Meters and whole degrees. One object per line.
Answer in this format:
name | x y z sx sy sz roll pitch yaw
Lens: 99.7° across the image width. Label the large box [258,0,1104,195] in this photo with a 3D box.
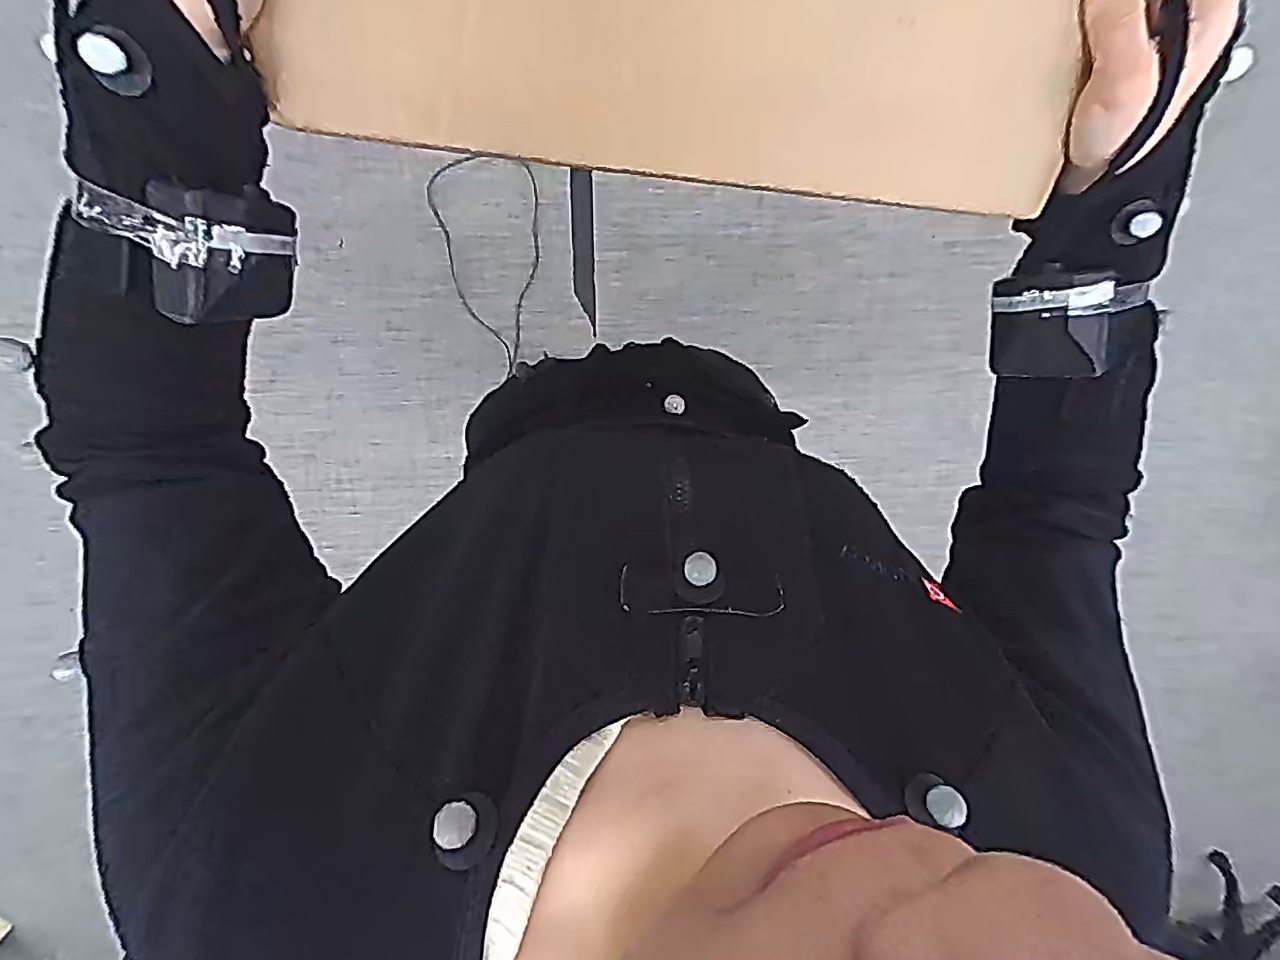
large box | 0.023 -0.375 0.335 0.408 0.320 0.320 3 121 -8
